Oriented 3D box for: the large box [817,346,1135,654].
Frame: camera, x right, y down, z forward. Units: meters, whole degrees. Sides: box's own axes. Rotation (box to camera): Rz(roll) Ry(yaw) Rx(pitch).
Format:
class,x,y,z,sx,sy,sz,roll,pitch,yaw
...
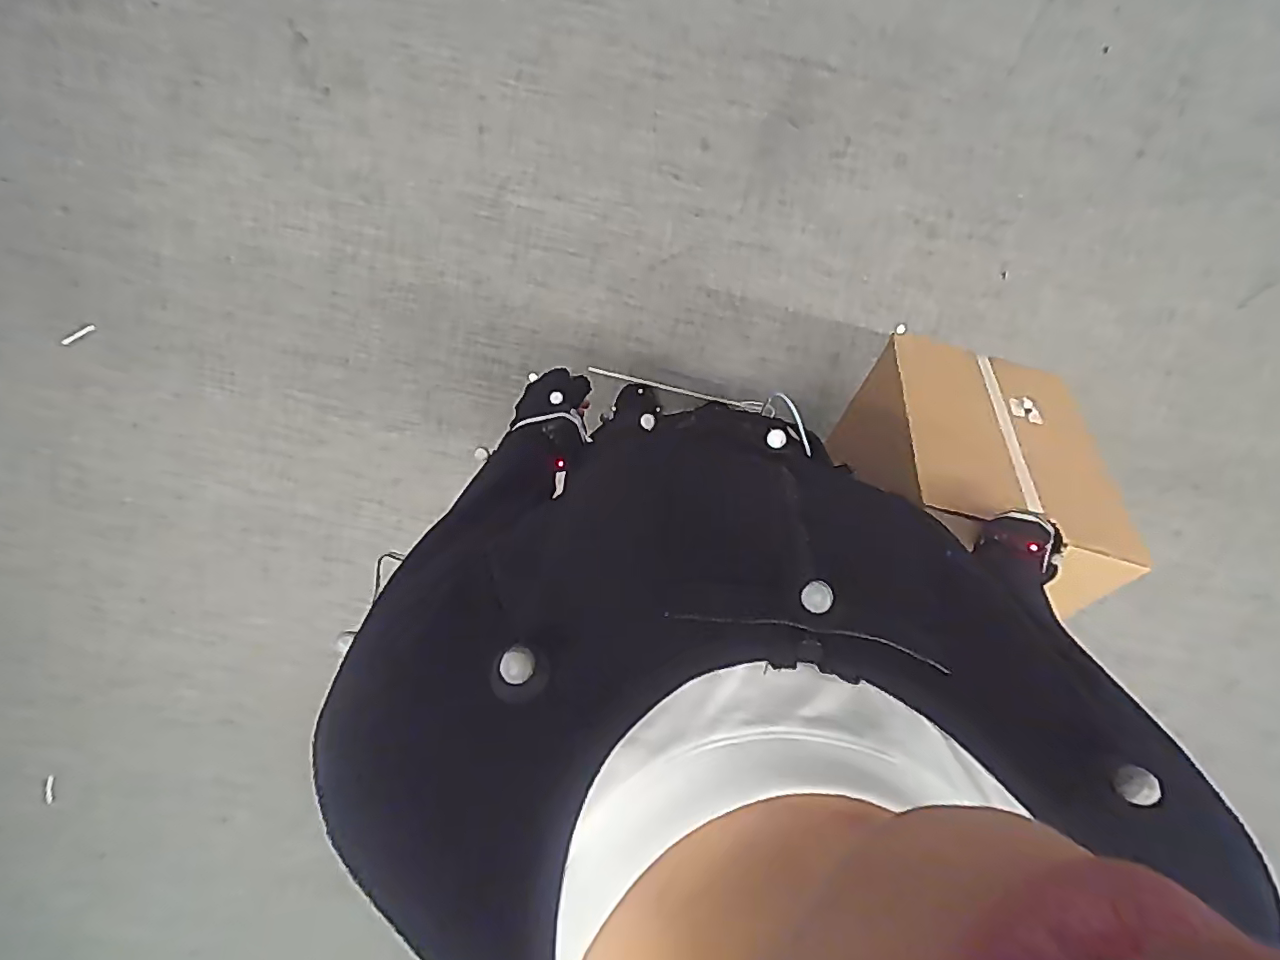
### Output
class,x,y,z,sx,sy,sz,roll,pitch,yaw
large box,0.524,0.032,0.957,0.320,0.408,0.320,16,138,0
